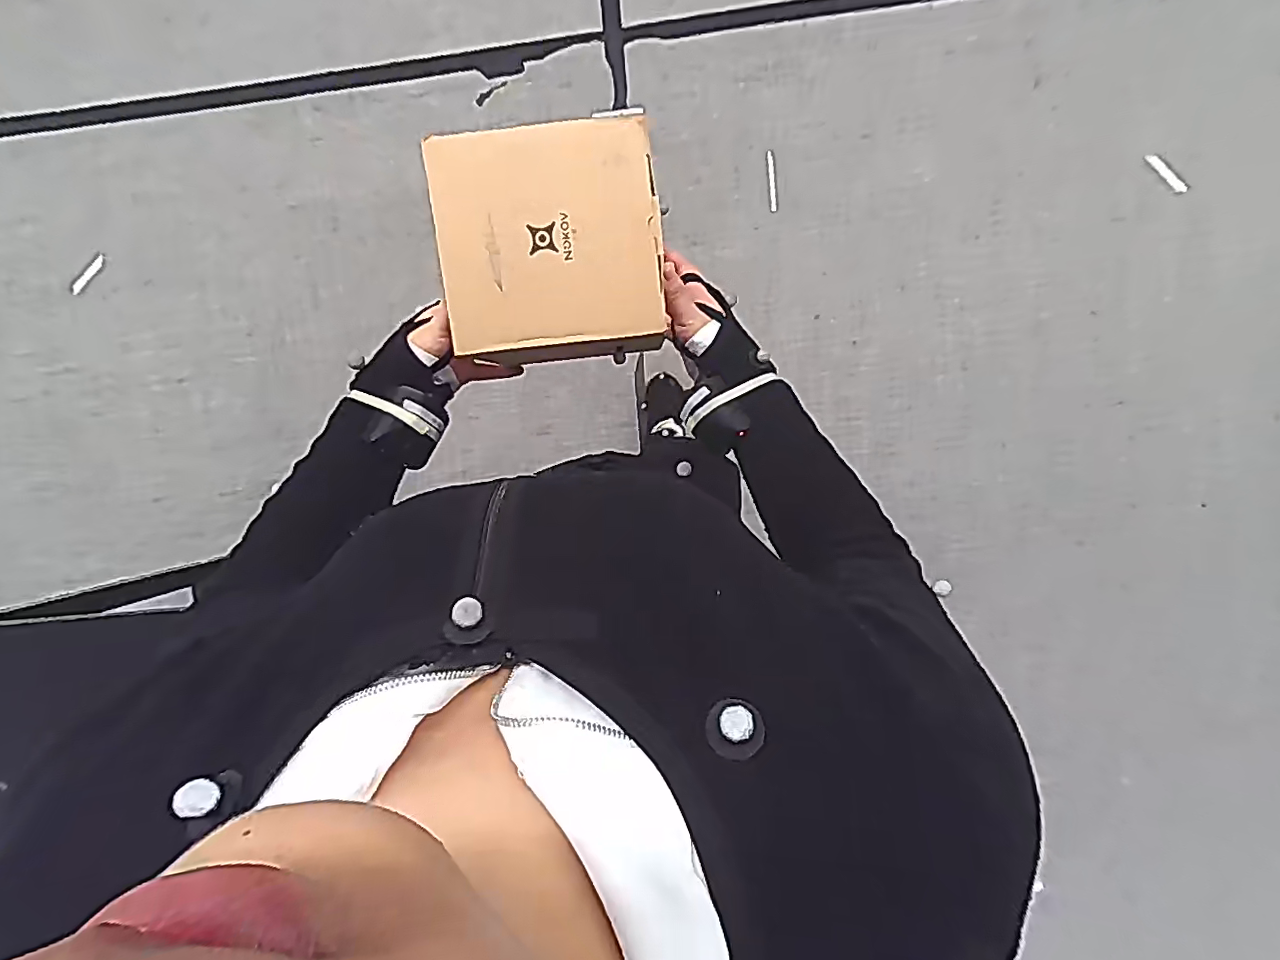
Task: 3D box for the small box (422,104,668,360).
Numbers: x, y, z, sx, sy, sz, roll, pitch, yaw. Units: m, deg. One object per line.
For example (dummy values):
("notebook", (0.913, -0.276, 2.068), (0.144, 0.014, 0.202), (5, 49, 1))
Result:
("small box", (-0.072, -0.208, 0.502), (0.179, 0.176, 0.168), (-7, 97, 3))
